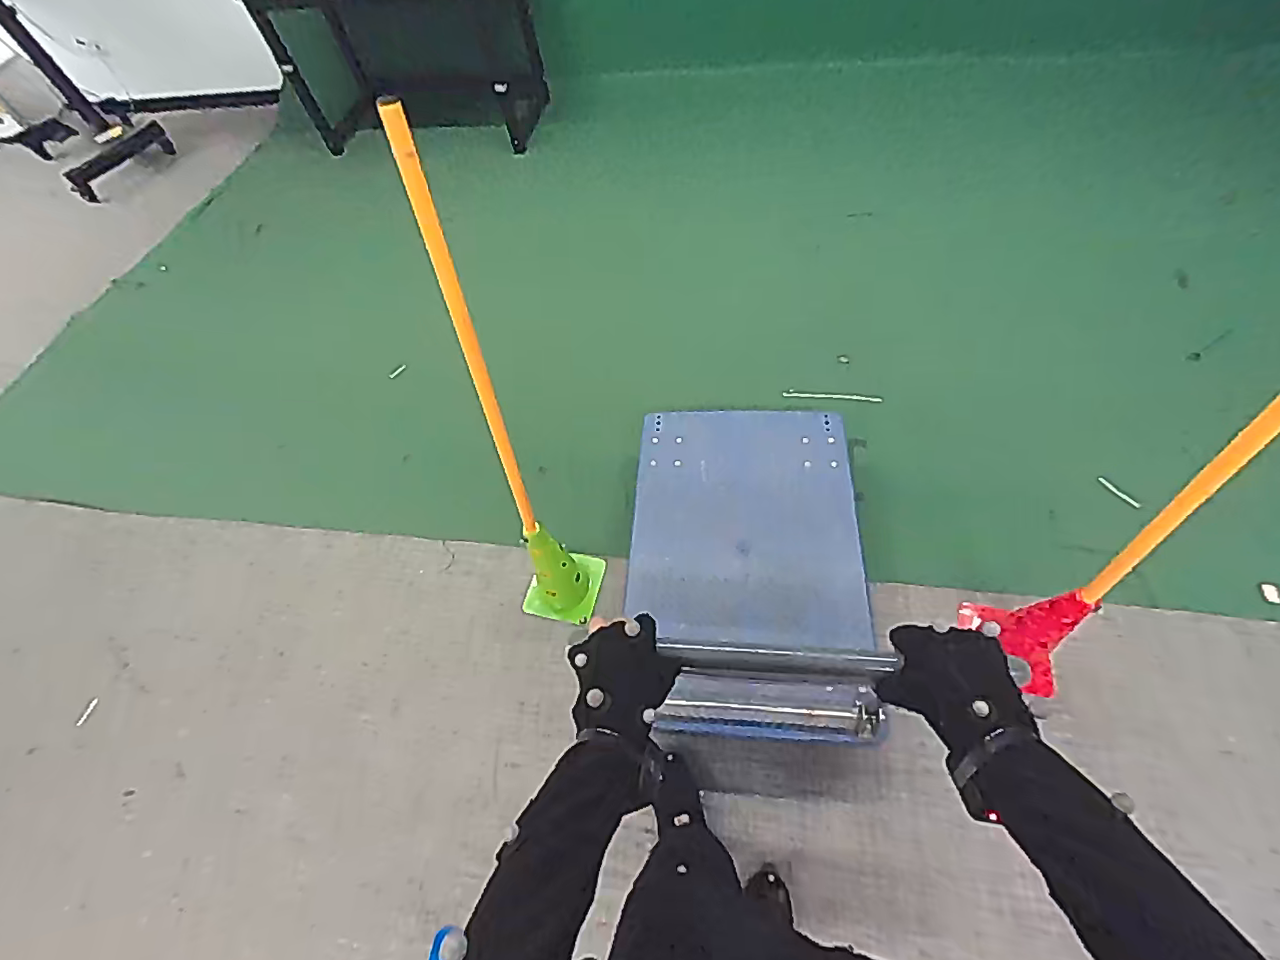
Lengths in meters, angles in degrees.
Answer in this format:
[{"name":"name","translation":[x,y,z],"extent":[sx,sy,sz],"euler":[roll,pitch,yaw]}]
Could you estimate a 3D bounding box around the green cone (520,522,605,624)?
[{"name":"green cone","translation":[-0.234,0.210,1.410],"extent":[0.202,0.368,0.200],"euler":[8,58,13]}]
